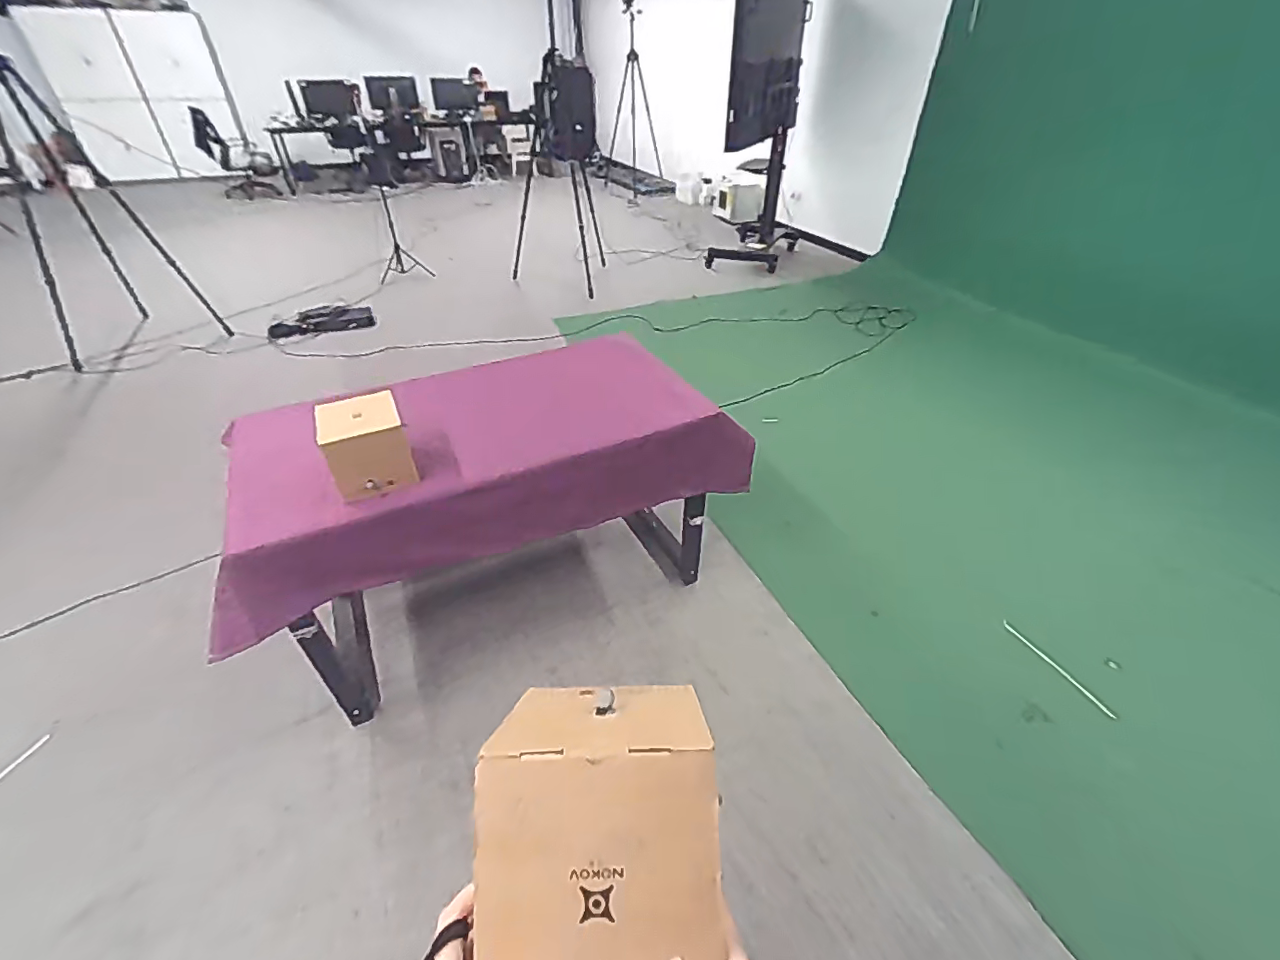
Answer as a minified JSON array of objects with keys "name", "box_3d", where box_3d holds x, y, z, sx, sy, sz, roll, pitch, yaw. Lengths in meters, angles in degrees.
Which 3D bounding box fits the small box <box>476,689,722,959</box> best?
[{"name":"small box","box_3d":[-0.027,0.277,0.443,0.168,0.176,0.179,-1,83,1]}]

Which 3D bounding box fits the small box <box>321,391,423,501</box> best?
[{"name":"small box","box_3d":[-0.618,-0.079,1.250,0.168,0.176,0.179,-18,43,-20]}]
